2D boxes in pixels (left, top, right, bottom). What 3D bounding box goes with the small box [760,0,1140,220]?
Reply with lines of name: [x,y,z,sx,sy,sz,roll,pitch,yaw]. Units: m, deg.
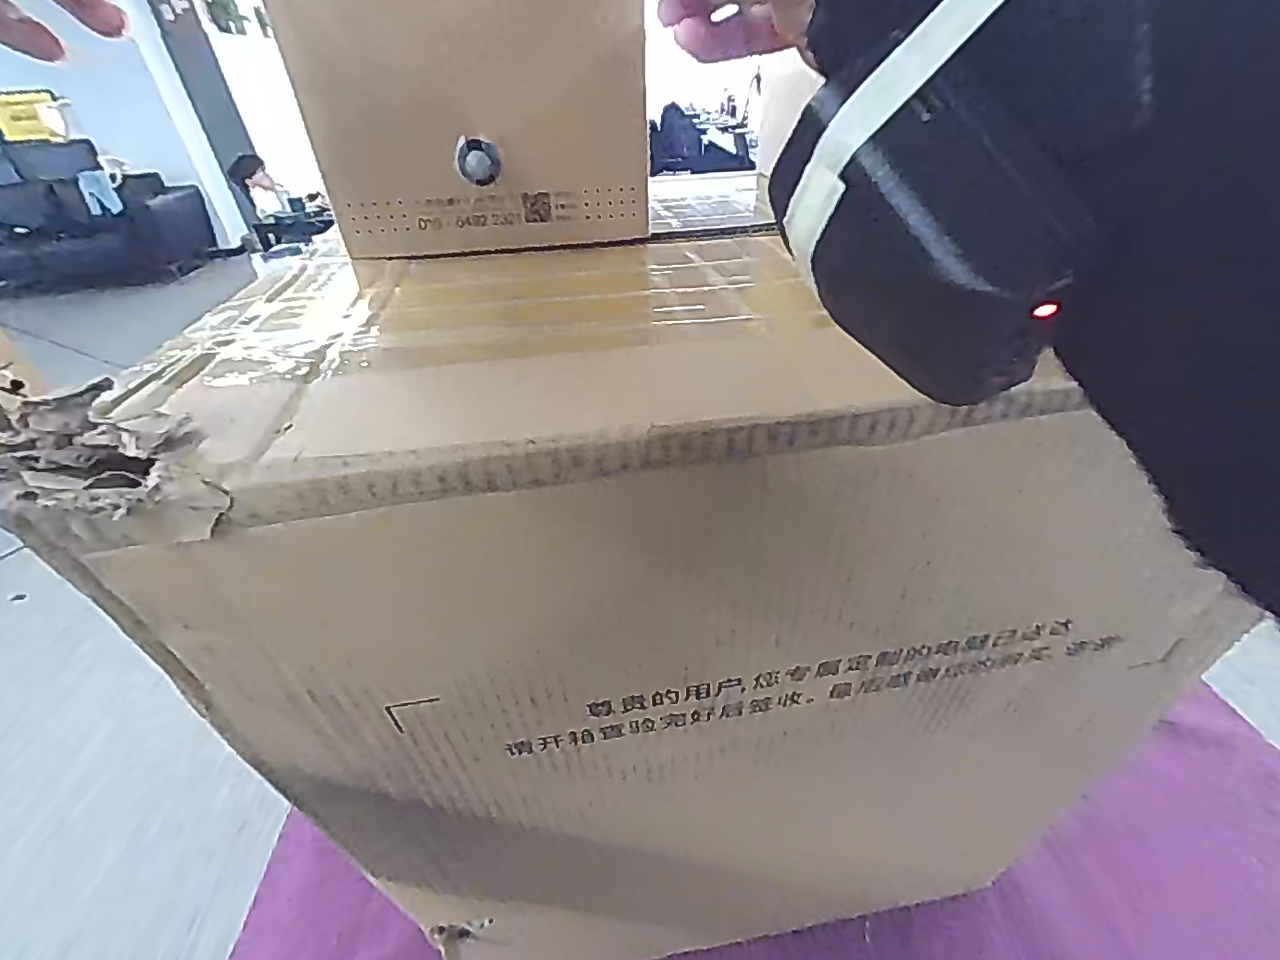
small box: [0.188,-0.288,0.373,0.168,0.176,0.179,-7,37,-3]
